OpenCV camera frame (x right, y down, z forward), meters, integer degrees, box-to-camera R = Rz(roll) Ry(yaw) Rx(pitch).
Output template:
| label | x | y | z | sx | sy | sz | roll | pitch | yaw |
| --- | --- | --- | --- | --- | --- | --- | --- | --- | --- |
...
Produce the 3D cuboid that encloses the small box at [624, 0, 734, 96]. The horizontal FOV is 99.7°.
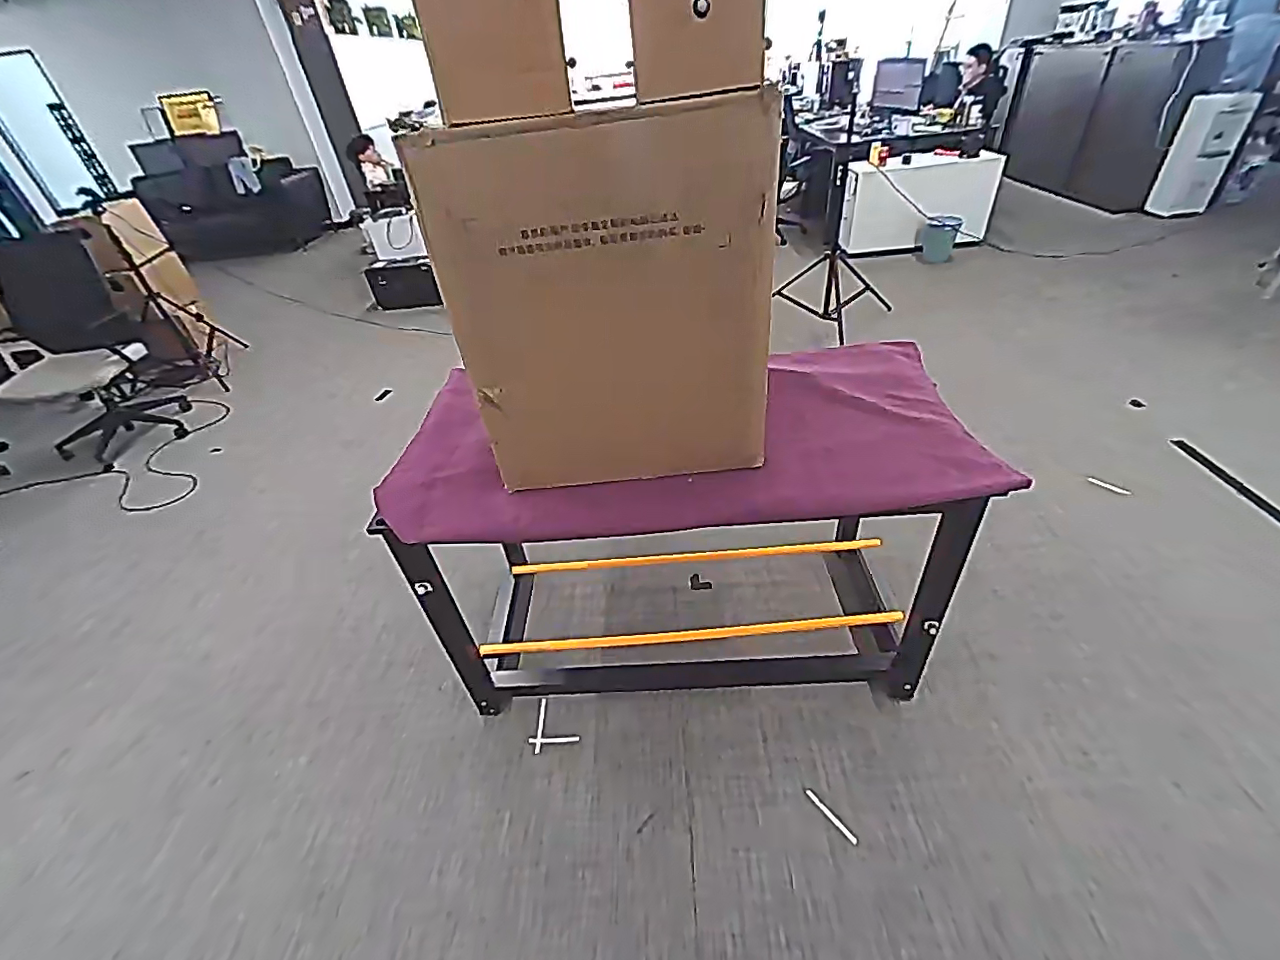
| label | x | y | z | sx | sy | sz | roll | pitch | yaw |
| --- | --- | --- | --- | --- | --- | --- | --- | --- | --- |
| small box | 0.062 | -0.744 | 0.889 | 0.168 | 0.176 | 0.179 | -5 | 38 | 4 |
